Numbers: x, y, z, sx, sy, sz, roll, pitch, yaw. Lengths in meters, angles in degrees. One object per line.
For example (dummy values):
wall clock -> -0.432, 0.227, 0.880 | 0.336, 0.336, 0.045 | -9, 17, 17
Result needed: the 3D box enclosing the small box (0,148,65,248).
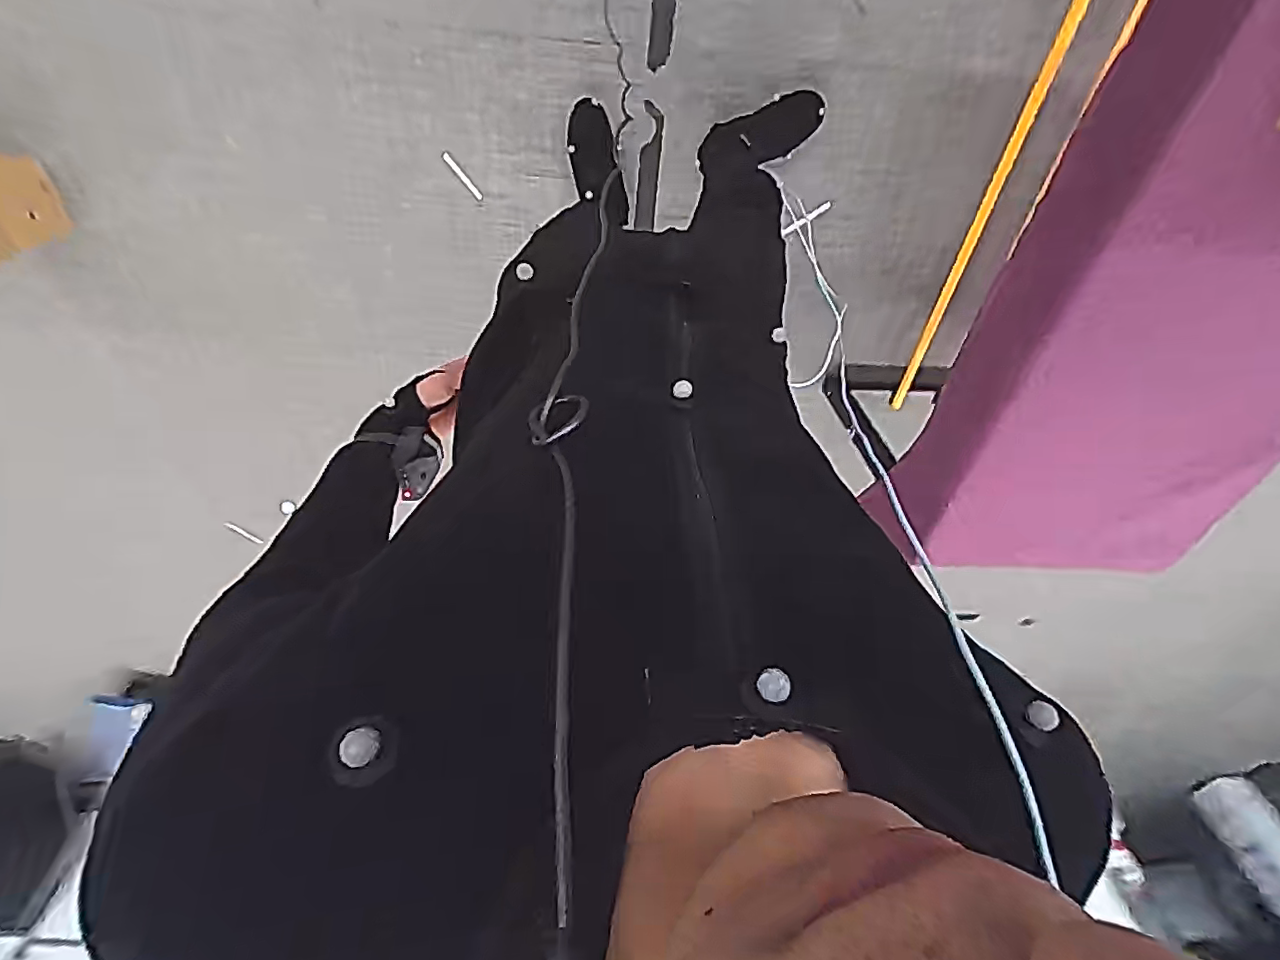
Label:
small box -> -1.467, -0.640, 1.211 | 0.179, 0.176, 0.168 | 4, 131, -5
